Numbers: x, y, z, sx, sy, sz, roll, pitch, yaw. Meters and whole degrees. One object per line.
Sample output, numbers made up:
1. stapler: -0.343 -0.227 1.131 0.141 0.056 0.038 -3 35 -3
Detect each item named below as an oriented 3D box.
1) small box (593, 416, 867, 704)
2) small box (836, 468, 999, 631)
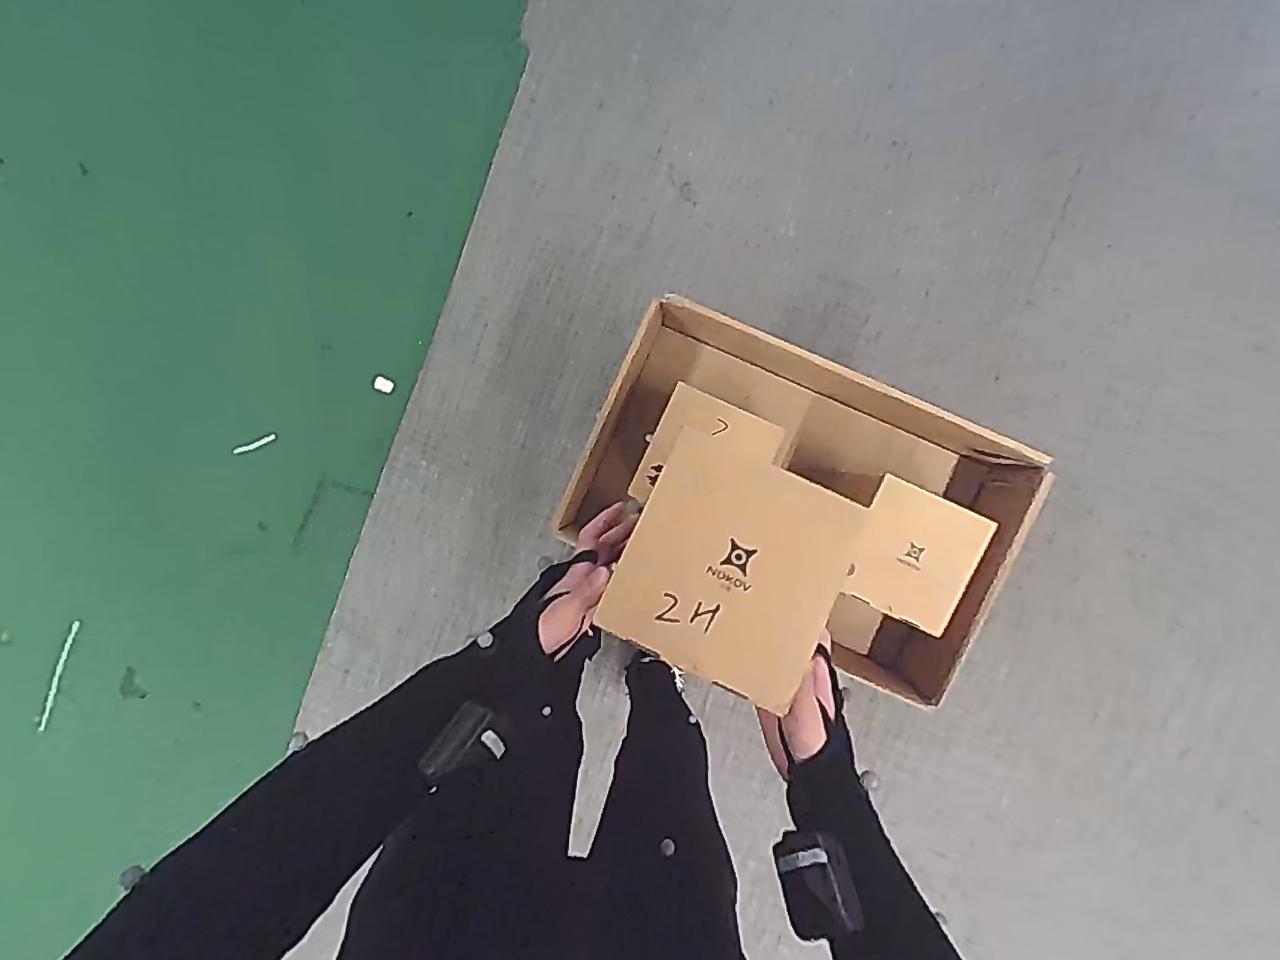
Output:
1. small box: 0.071 0.068 0.499 0.168 0.176 0.179 25 85 4
2. small box: 0.377 0.090 0.808 0.168 0.176 0.179 24 94 3
